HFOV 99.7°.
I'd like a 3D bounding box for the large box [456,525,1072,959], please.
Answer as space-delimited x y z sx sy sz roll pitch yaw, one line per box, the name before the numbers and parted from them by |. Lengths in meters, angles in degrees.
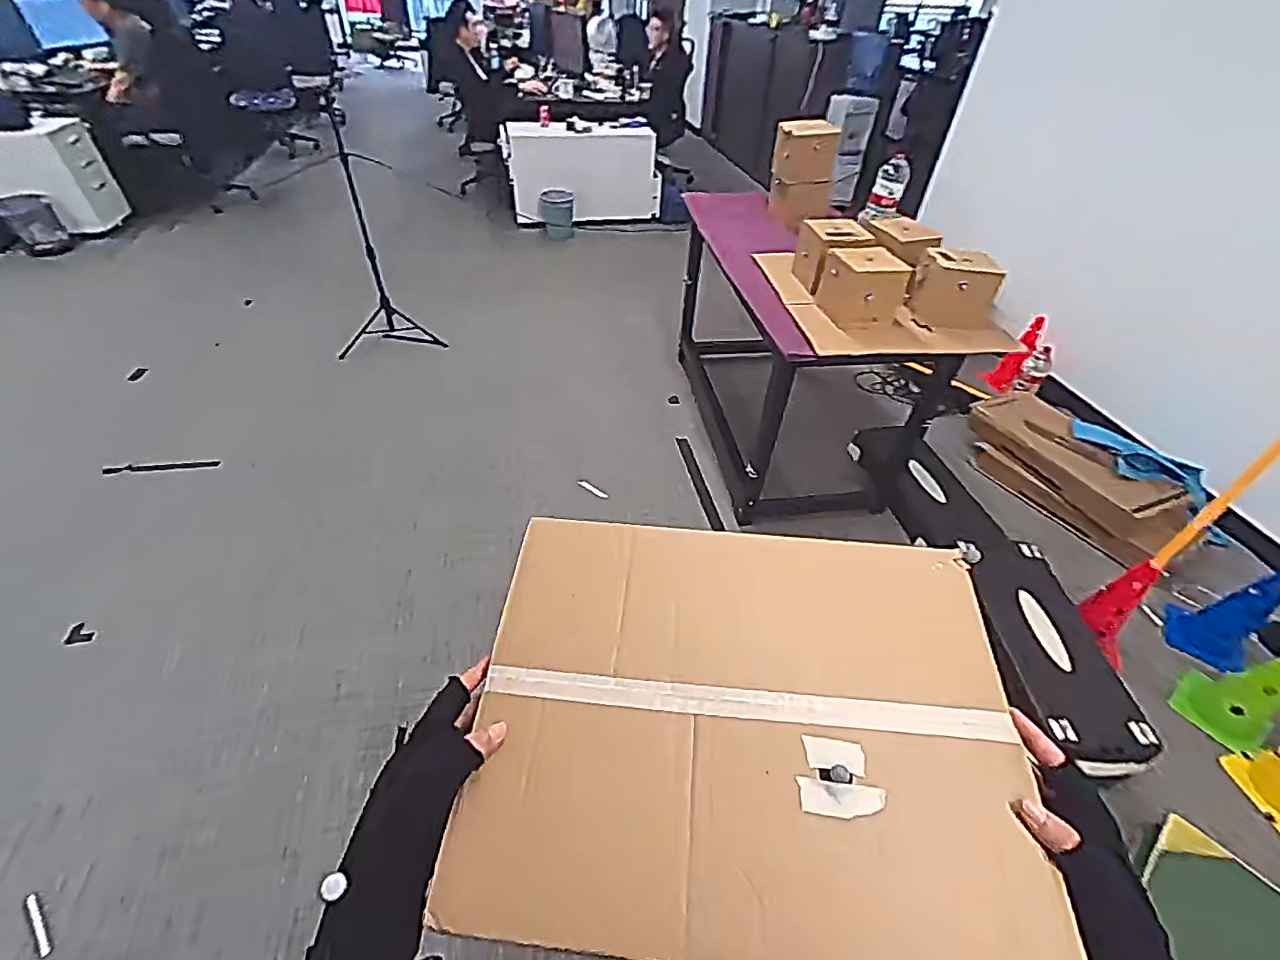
large box | 0.087 0.268 0.553 0.408 0.320 0.320 4 53 5
